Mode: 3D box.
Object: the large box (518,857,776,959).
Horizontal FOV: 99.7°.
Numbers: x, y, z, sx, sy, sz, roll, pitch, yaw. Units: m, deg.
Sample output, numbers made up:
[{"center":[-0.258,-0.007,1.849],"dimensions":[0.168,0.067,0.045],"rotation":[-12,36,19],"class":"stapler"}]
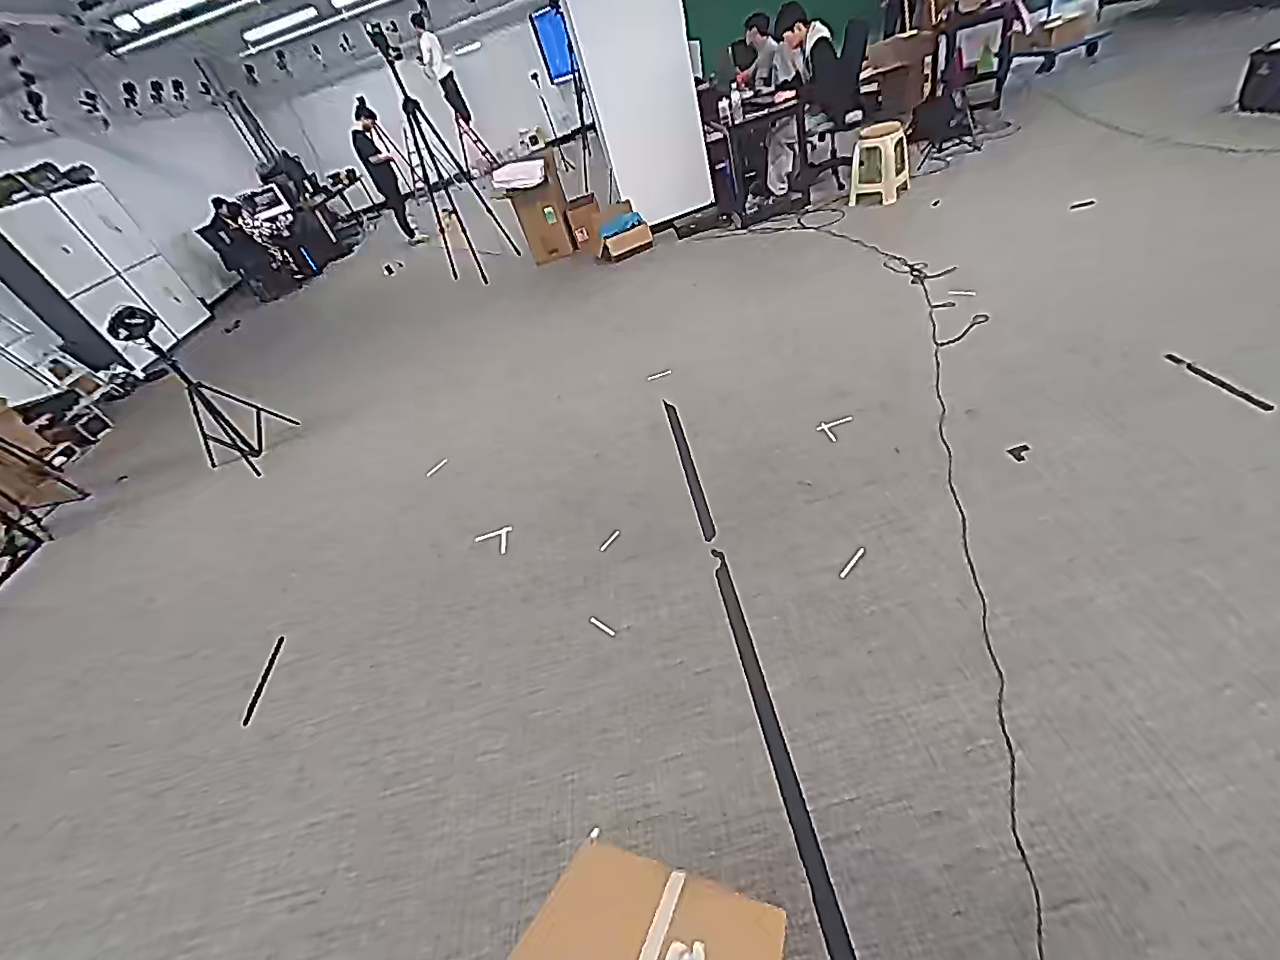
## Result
[{"center":[-0.027,0.766,0.630],"dimensions":[0.320,0.320,0.408],"rotation":[9,3,18],"class":"large box"}]
